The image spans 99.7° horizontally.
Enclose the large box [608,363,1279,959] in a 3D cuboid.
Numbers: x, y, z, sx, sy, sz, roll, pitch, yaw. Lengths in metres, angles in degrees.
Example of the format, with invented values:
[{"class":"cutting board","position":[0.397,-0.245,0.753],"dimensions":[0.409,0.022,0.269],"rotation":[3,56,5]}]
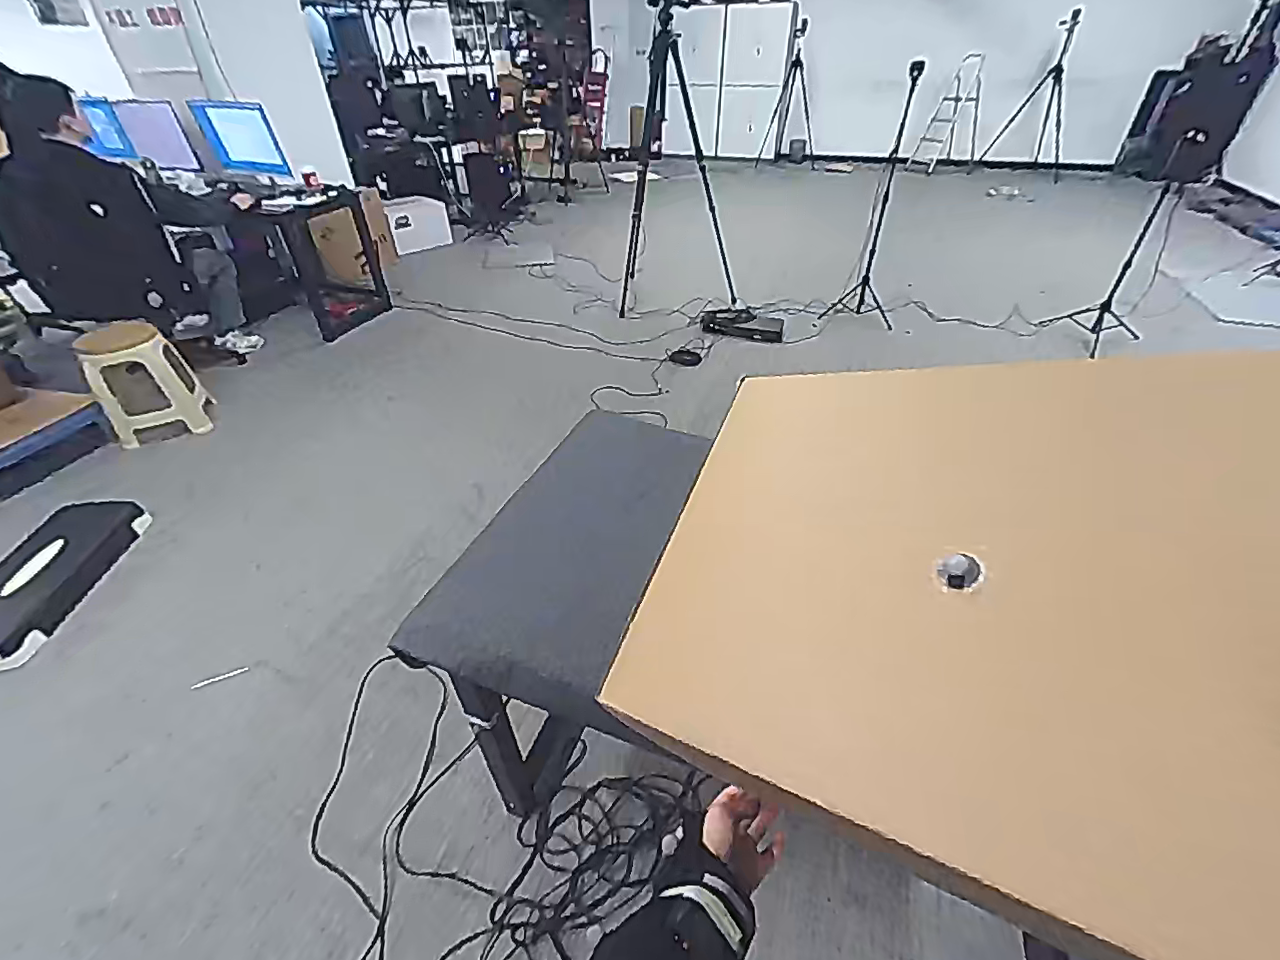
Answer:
[{"class":"large box","position":[0.257,0.136,0.414],"dimensions":[0.408,0.320,0.320],"rotation":[4,57,38]}]
